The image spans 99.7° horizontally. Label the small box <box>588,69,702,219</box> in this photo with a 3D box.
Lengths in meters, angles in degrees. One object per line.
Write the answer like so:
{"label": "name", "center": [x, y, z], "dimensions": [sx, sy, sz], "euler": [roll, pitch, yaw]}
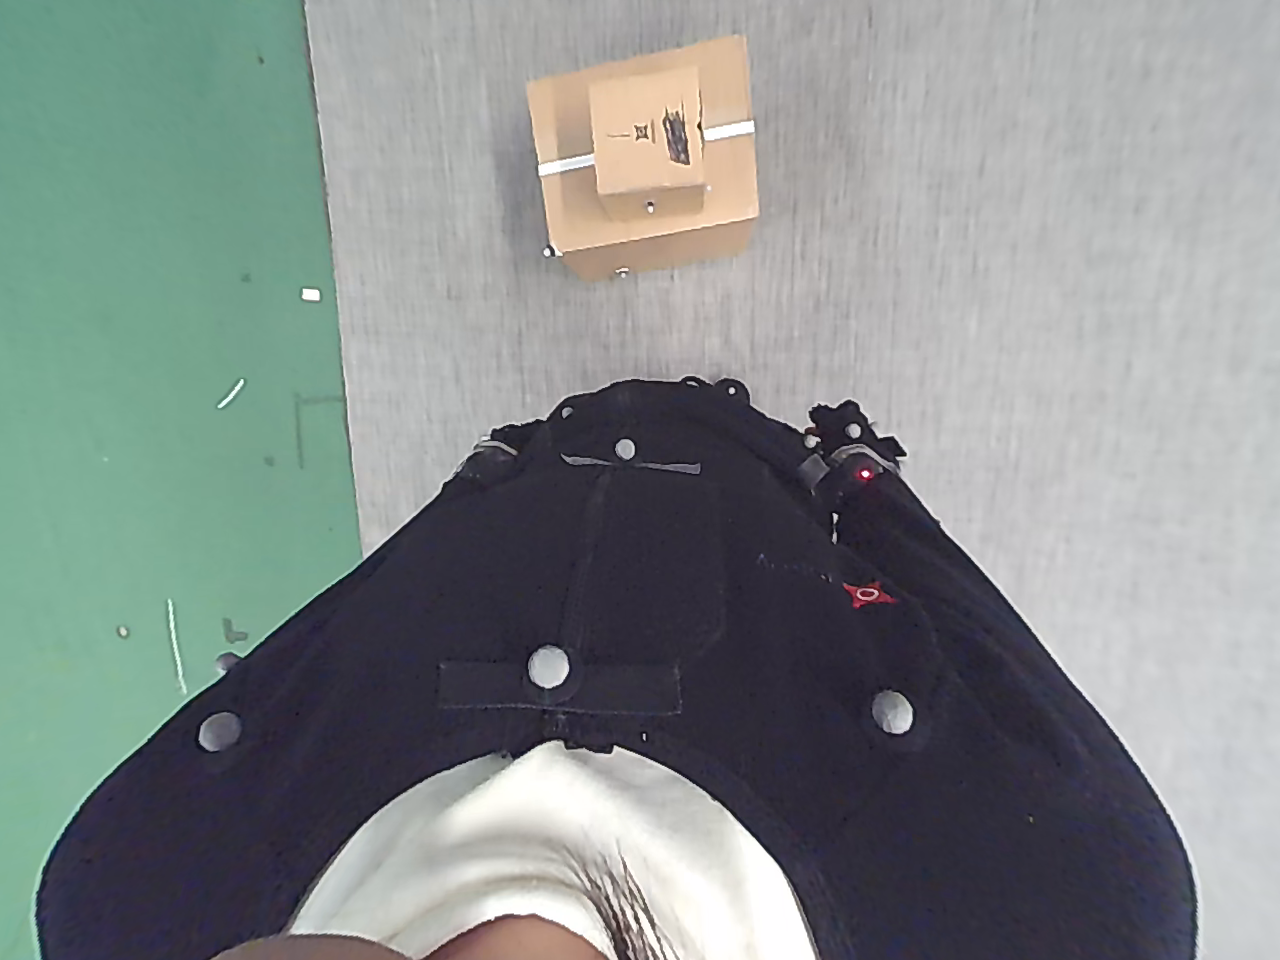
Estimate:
{"label": "small box", "center": [0.017, -0.569, 0.938], "dimensions": [0.179, 0.176, 0.168], "euler": [-3, 101, 8]}
